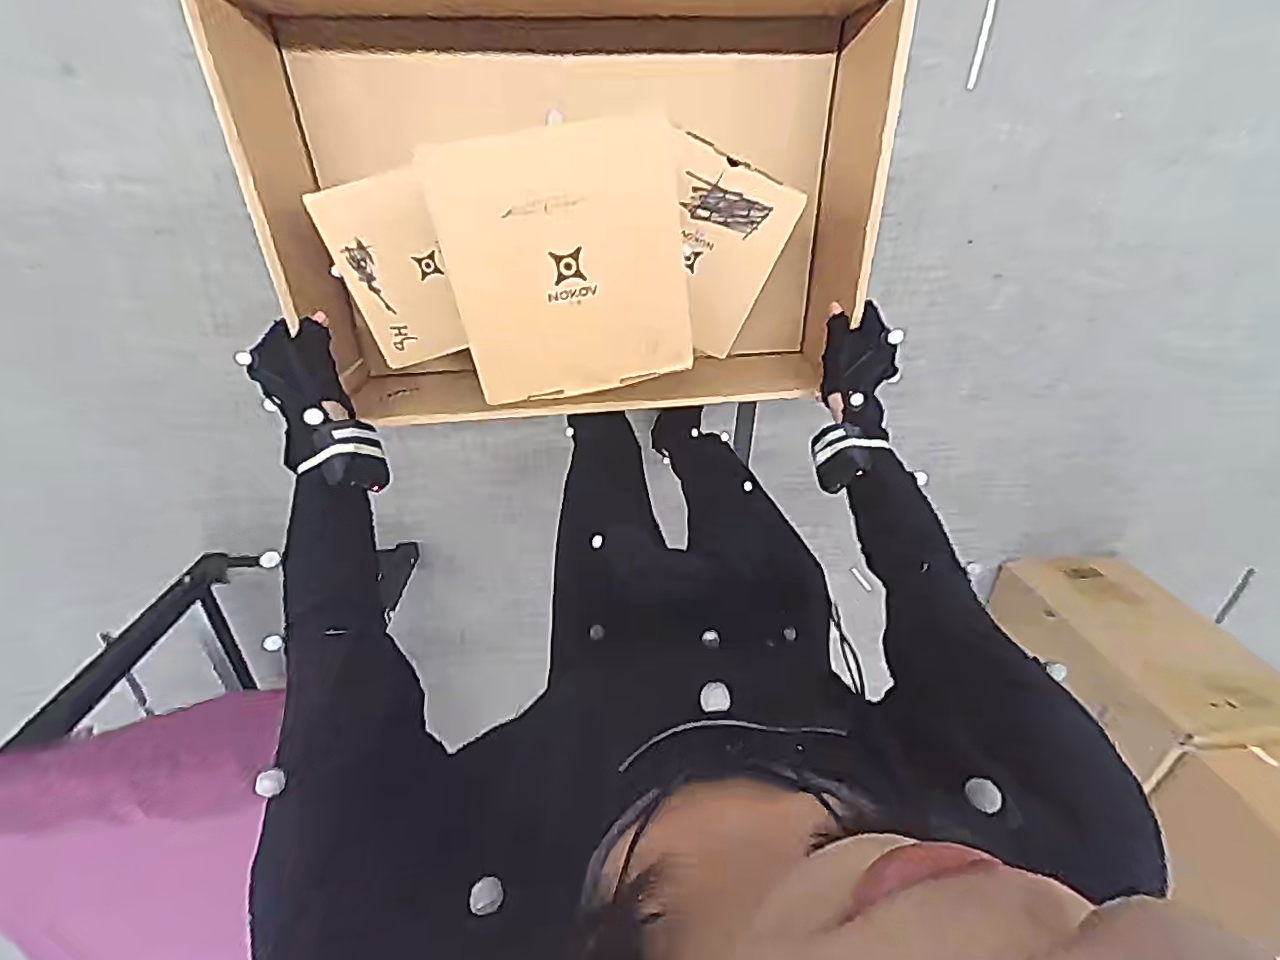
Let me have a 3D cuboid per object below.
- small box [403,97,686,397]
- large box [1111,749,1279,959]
[{"bbox_3d":[-0.064,-0.189,0.443,0.168,0.176,0.179,-11,119,-3],"label":"small box"},{"bbox_3d":[1.379,0.858,1.188,0.320,0.320,0.408,0,119,-4],"label":"large box"}]
